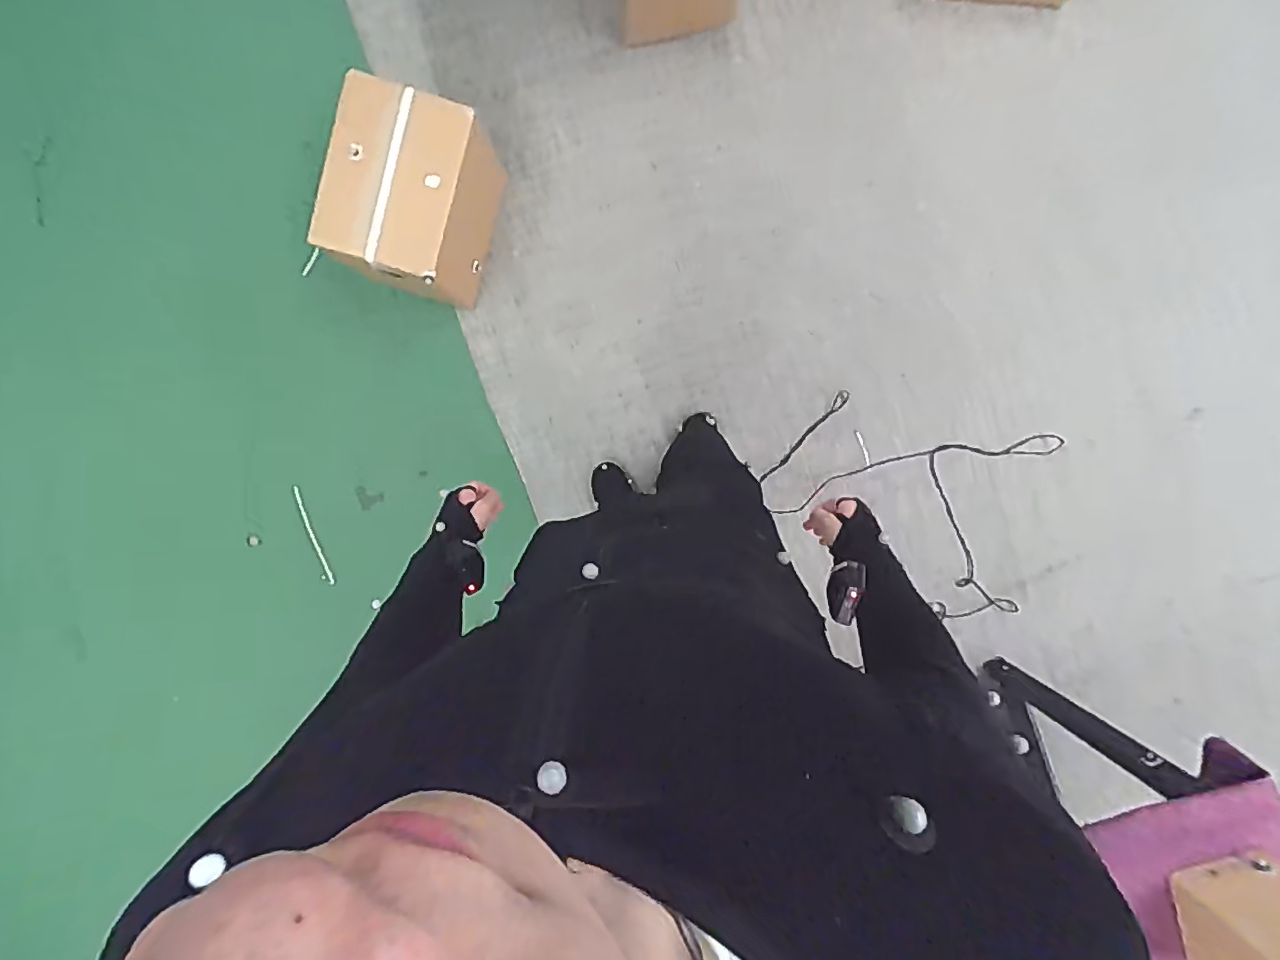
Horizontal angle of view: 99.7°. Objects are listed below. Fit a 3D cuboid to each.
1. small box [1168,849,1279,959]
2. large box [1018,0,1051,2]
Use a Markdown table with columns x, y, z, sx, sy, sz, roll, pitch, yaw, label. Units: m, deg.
| x | y | z | sx | sy | sz | roll | pitch | yaw | label |
| --- | --- | --- | --- | --- | --- | --- | --- | --- | --- |
| 1.013 | 0.737 | 0.869 | 0.168 | 0.176 | 0.179 | -18 | 96 | 2 | small box |
| 0.976 | -1.479 | 1.347 | 0.408 | 0.320 | 0.320 | 4 | 94 | 1 | large box |
